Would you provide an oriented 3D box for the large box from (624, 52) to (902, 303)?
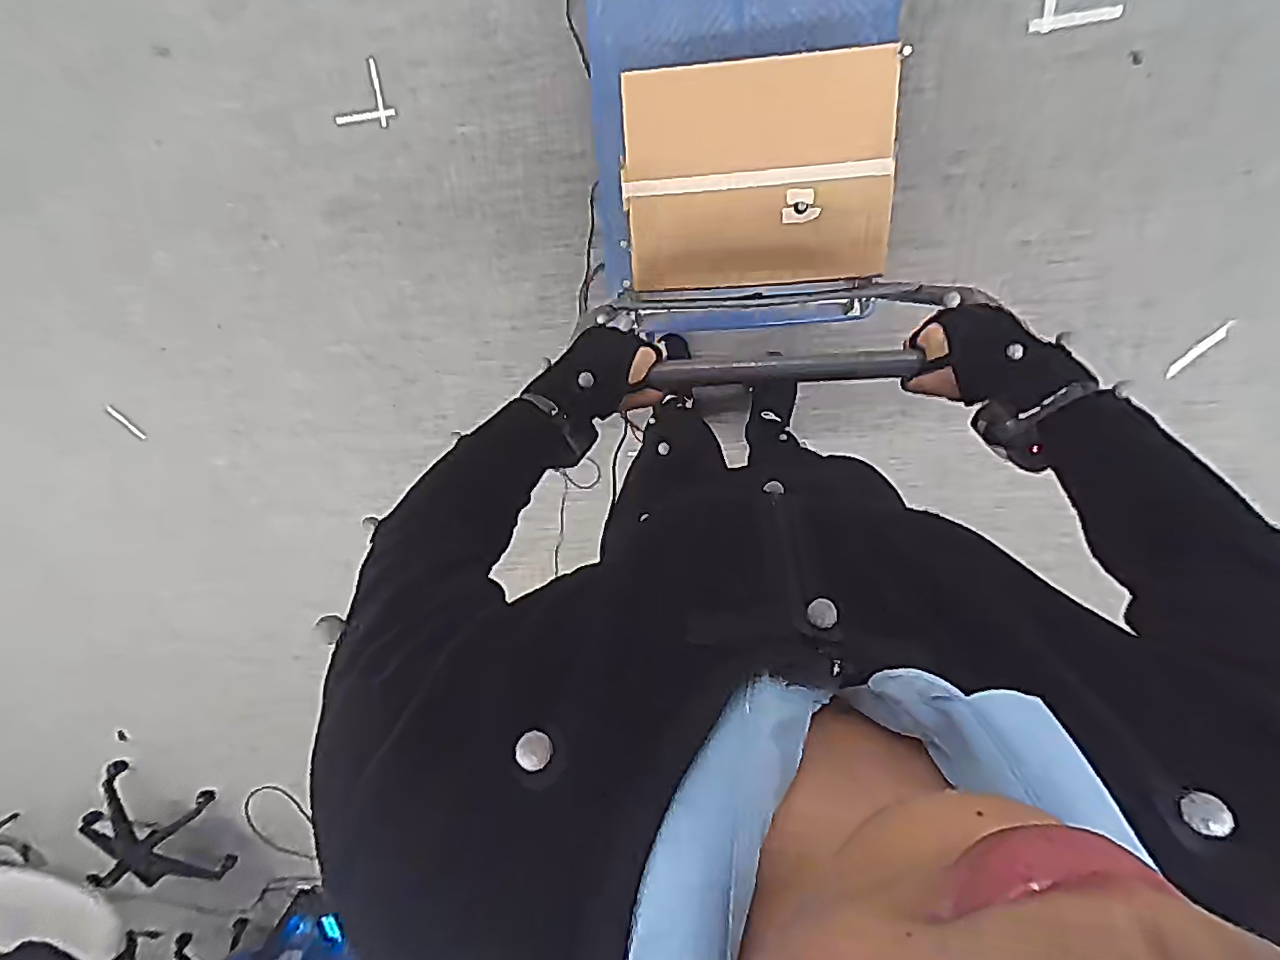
[{"bbox_3d":[0.194,-0.495,0.966,0.408,0.320,0.320,-2,109,5],"label":"large box"}]
